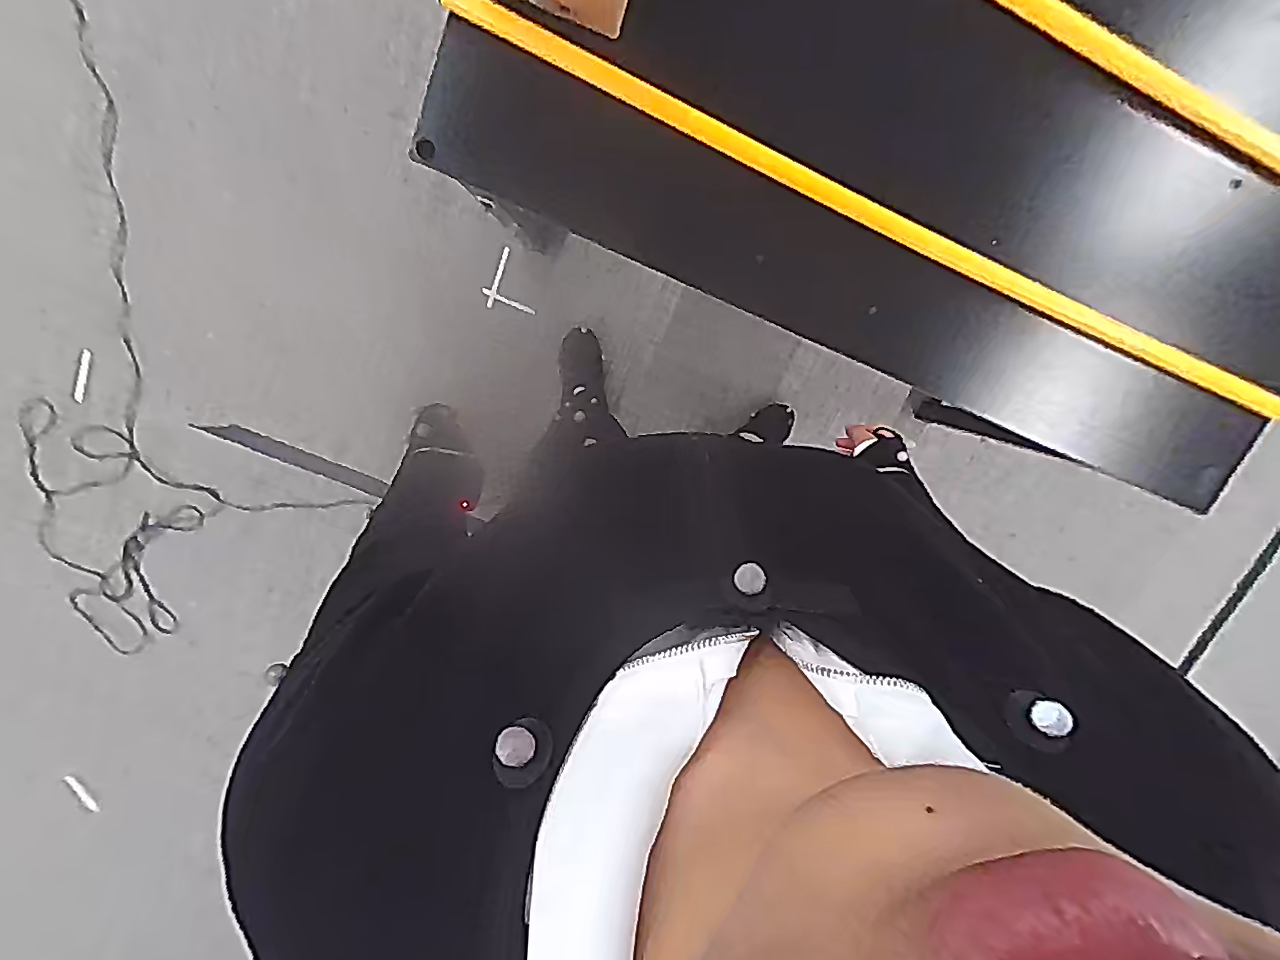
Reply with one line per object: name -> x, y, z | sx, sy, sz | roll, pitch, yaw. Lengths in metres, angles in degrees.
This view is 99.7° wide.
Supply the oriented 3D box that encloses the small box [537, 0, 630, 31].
small box -> -0.067, -0.585, 0.505 | 0.168, 0.176, 0.179 | 17, 105, -8
